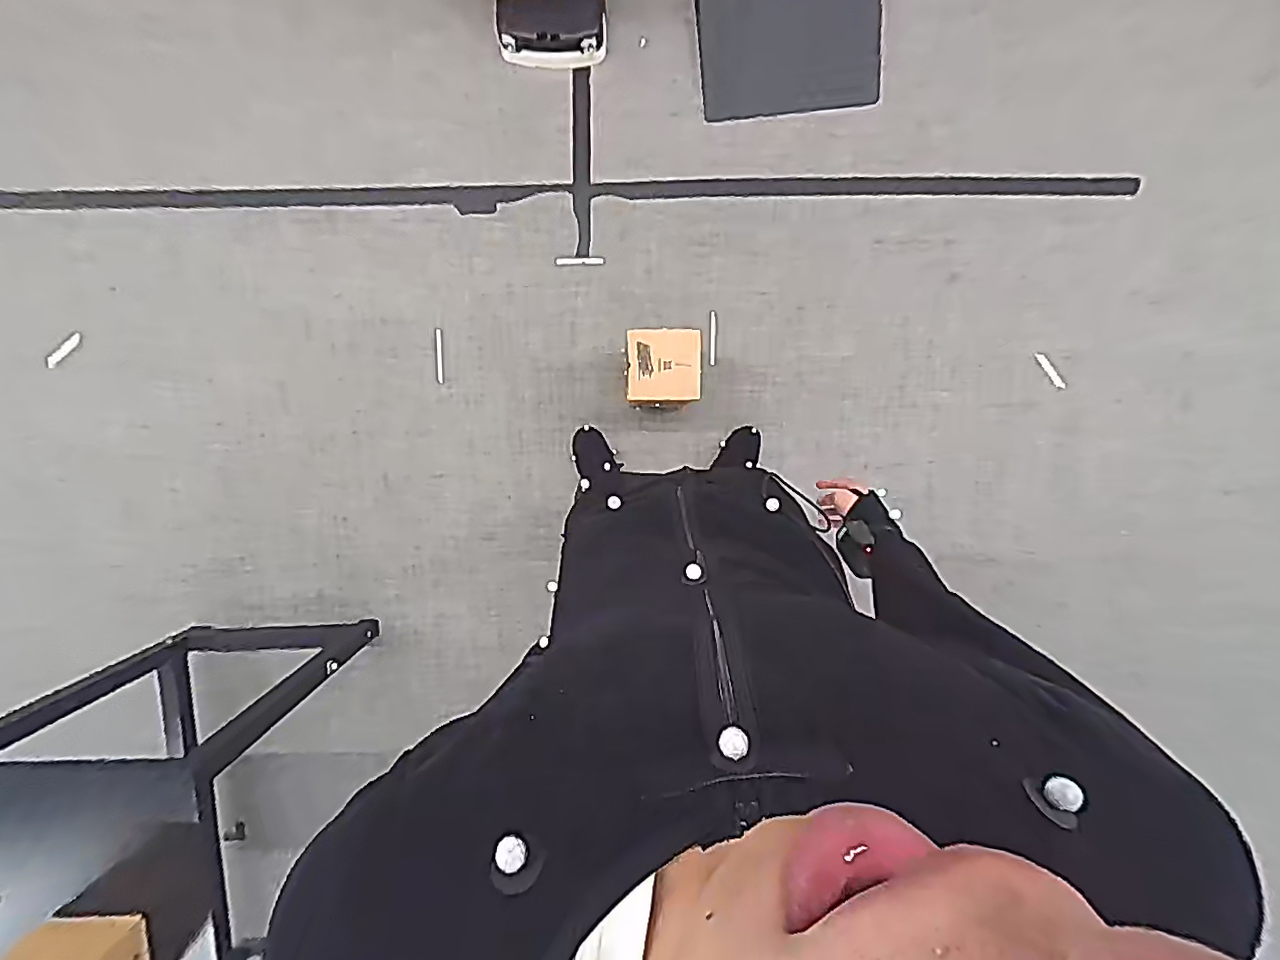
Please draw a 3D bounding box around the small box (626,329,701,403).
[{"bbox_3d":[0.054,-0.276,1.342,0.179,0.176,0.168,0,97,-2],"label":"small box"}]

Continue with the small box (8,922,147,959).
[{"bbox_3d":[-0.981,0.884,0.902,0.179,0.176,0.168,-1,97,-1],"label":"small box"}]
